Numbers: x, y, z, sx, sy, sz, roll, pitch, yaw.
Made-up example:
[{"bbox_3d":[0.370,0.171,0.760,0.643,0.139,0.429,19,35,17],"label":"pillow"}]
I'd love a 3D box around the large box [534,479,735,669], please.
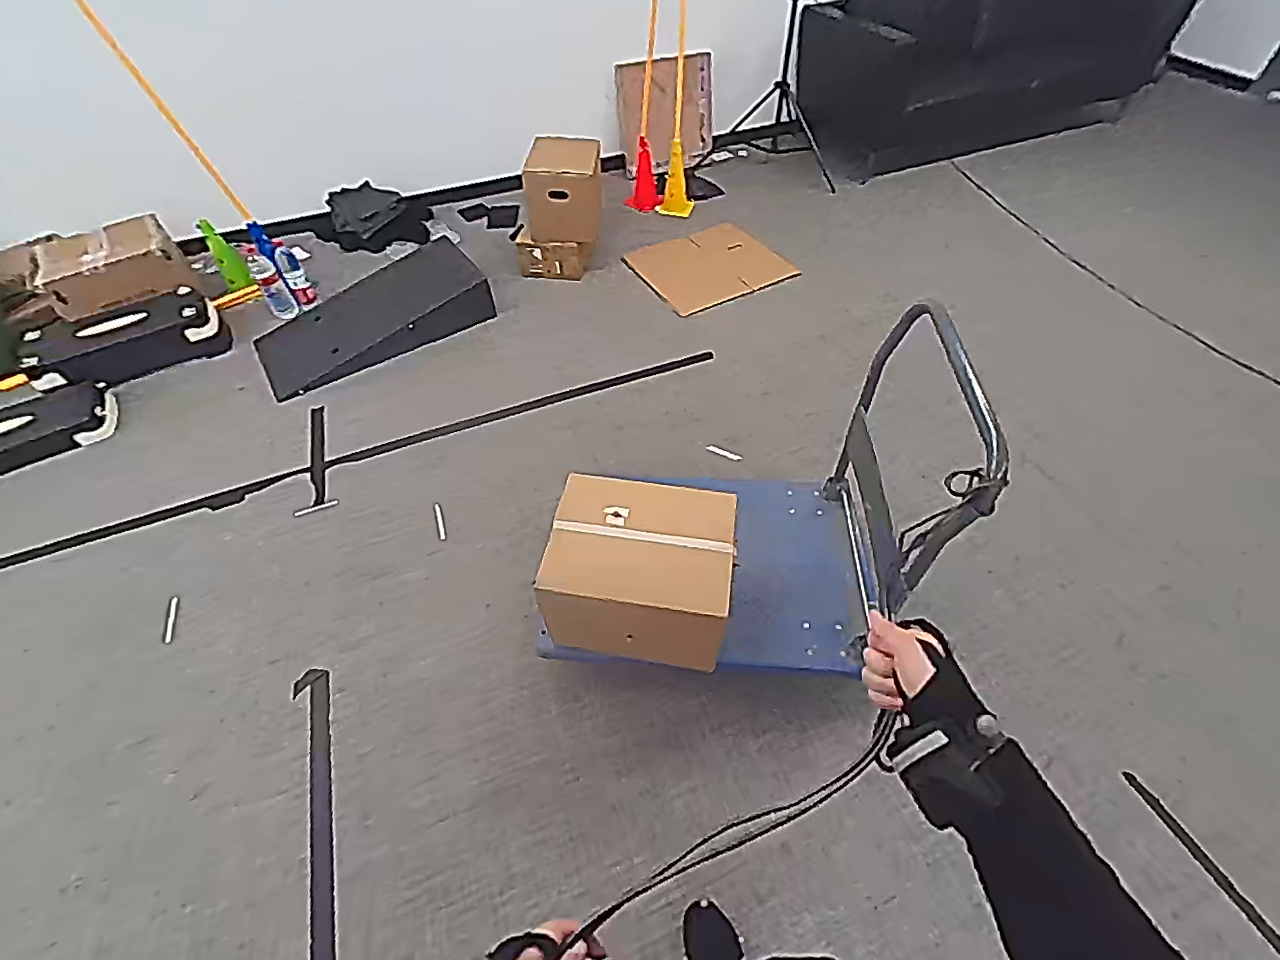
[{"bbox_3d":[0.006,0.227,1.290,0.408,0.320,0.320,7,51,7],"label":"large box"}]
